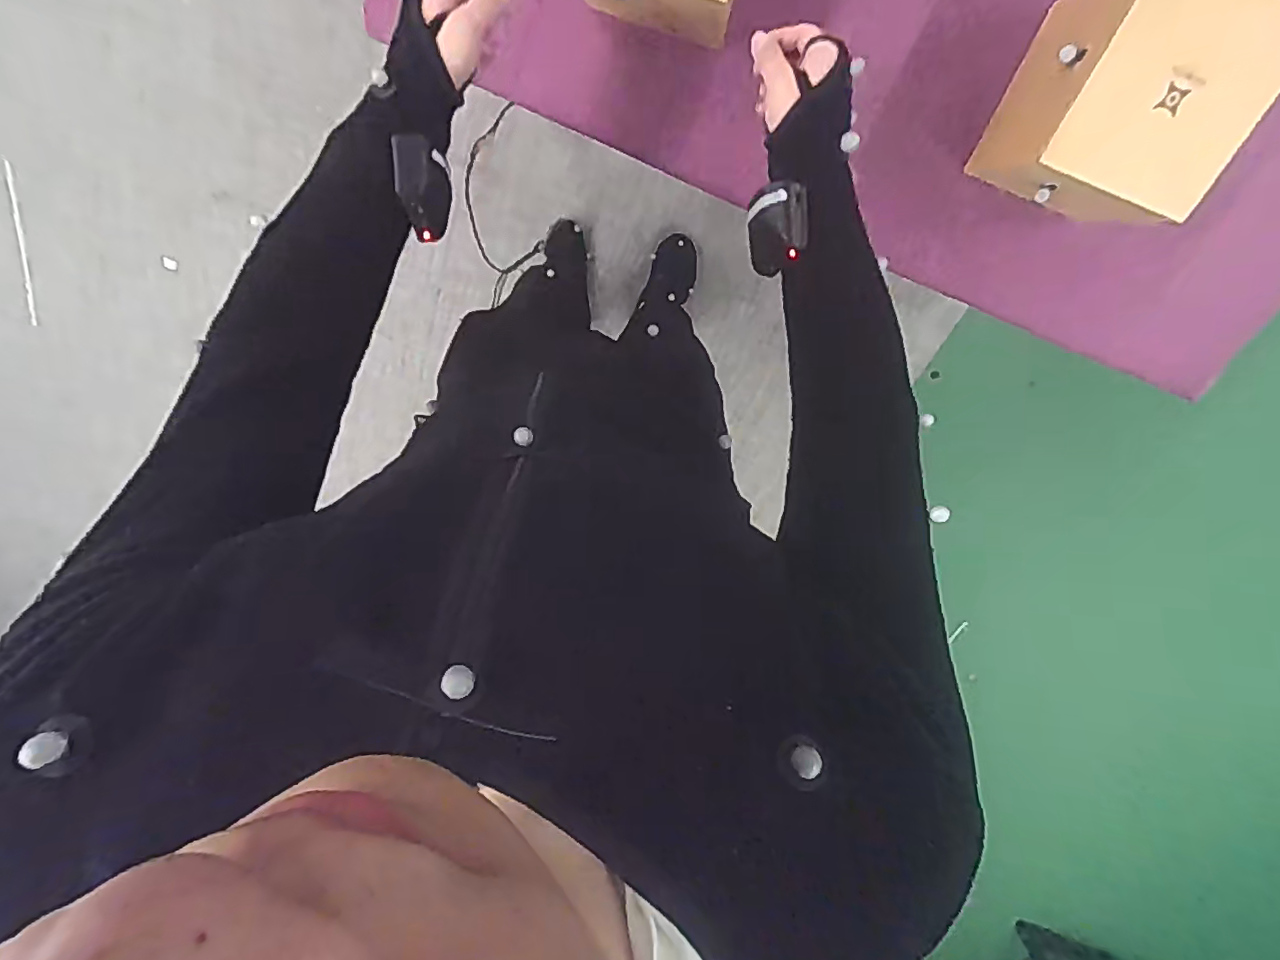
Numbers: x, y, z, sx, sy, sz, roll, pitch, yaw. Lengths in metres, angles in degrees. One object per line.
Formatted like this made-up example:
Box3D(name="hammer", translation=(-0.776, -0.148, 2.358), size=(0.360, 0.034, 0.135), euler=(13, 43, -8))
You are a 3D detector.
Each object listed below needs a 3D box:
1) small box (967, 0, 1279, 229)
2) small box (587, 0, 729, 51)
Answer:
Box3D(name="small box", translation=(0.489, -0.386, 0.573), size=(0.168, 0.176, 0.179), euler=(20, 116, -5))
Box3D(name="small box", translation=(0.026, -0.564, 0.527), size=(0.168, 0.176, 0.179), euler=(16, 118, -3))
